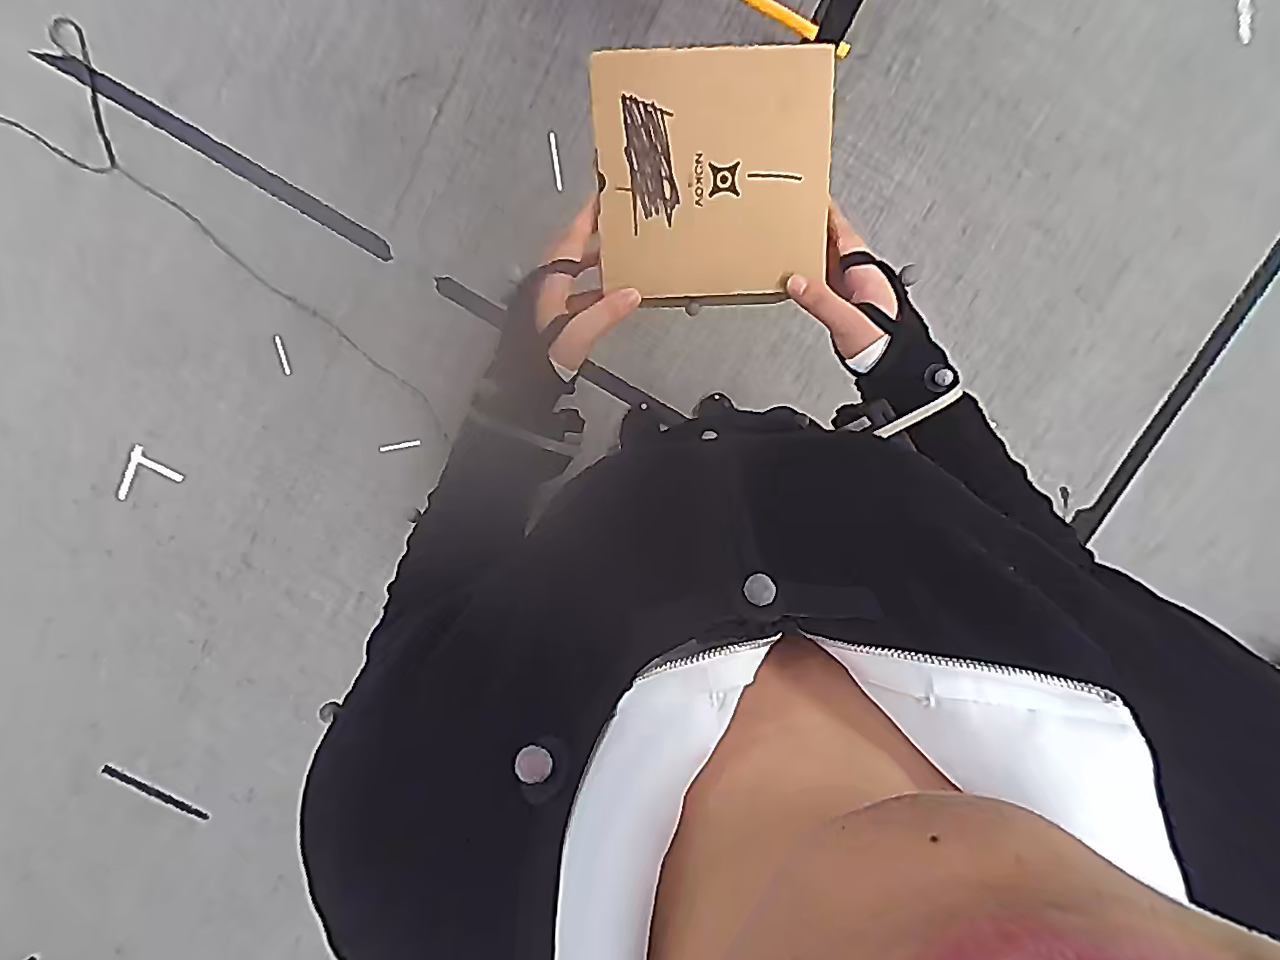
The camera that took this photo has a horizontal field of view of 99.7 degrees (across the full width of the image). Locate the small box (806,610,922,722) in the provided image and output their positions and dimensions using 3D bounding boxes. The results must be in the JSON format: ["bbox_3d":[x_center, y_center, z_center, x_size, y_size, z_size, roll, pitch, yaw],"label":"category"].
[{"bbox_3d":[0.530,0.439,1.312,0.179,0.176,0.168,30,99,-2],"label":"small box"}]

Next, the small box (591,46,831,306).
[{"bbox_3d":[0.054,-0.249,0.485,0.179,0.176,0.168,-2,105,0],"label":"small box"}]
